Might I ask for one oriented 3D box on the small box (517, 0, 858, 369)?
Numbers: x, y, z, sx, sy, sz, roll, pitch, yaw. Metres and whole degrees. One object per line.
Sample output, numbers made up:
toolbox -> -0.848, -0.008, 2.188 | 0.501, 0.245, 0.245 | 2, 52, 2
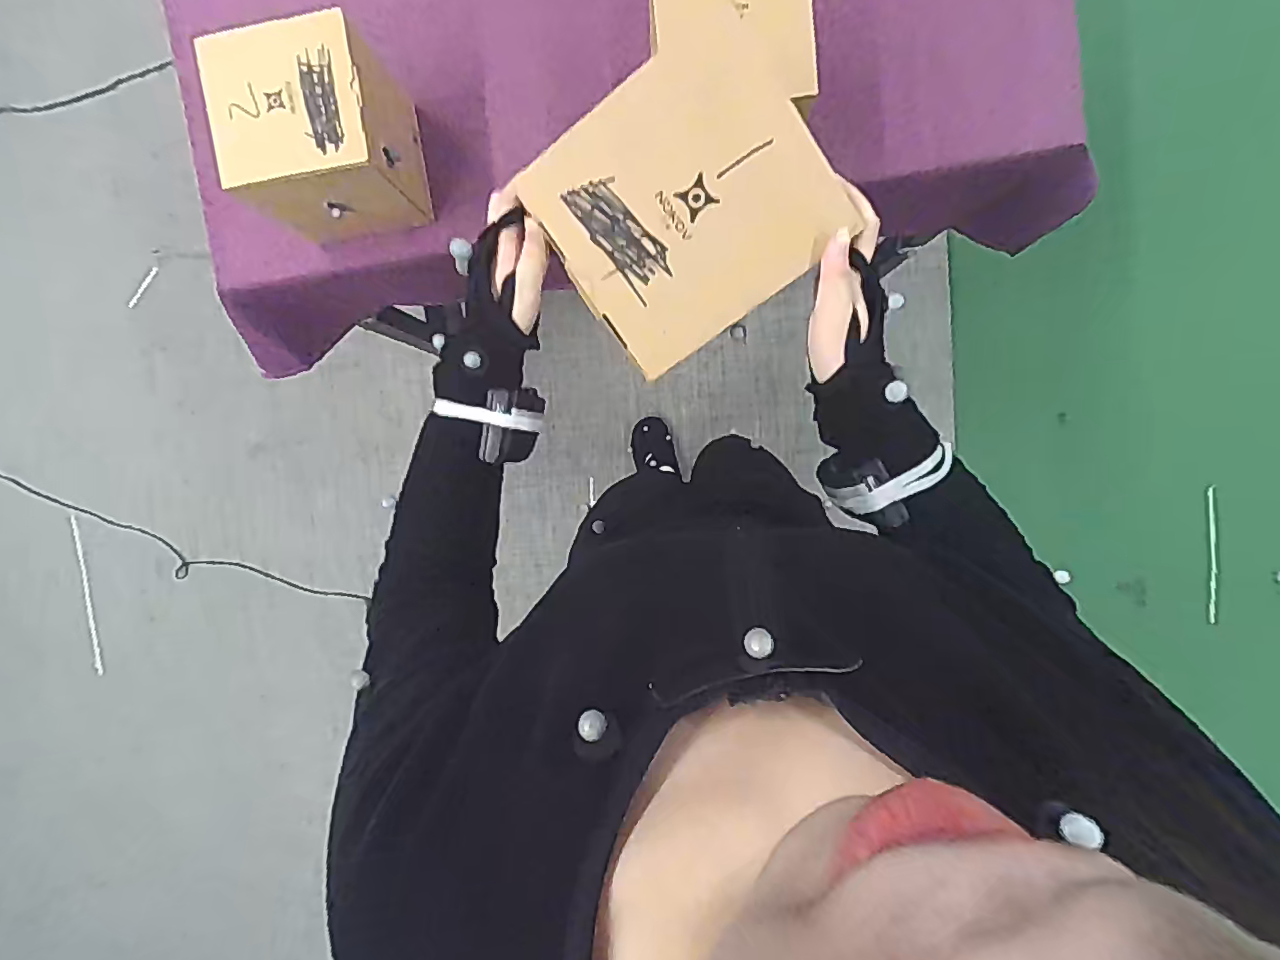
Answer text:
small box -> 0.037, -0.206, 0.437 | 0.179, 0.176, 0.168 | -33, 99, 11

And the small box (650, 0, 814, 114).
small box -> 0.101, -0.483, 0.650 | 0.168, 0.176, 0.179 | -5, 93, 2
